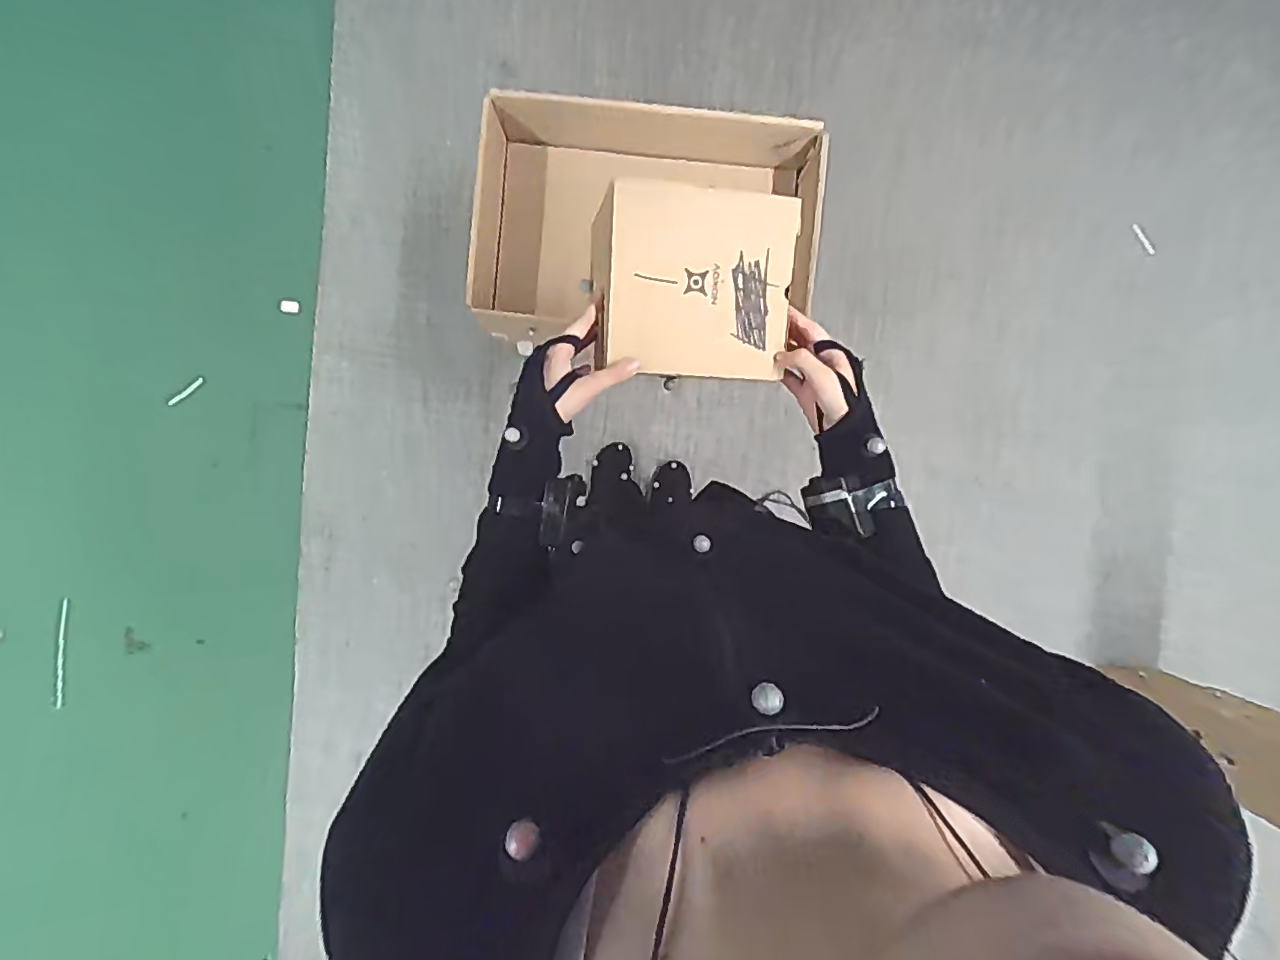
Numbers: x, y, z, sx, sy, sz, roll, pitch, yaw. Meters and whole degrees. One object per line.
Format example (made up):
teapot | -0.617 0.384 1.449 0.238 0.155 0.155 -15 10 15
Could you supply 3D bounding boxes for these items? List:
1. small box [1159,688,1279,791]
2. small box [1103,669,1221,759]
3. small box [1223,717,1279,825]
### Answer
small box | 1.388 0.610 1.278 0.168 0.176 0.179 4 91 1
small box | 1.388 0.618 1.442 0.168 0.176 0.179 3 91 0
small box | 1.371 0.616 1.115 0.168 0.176 0.179 2 91 1
